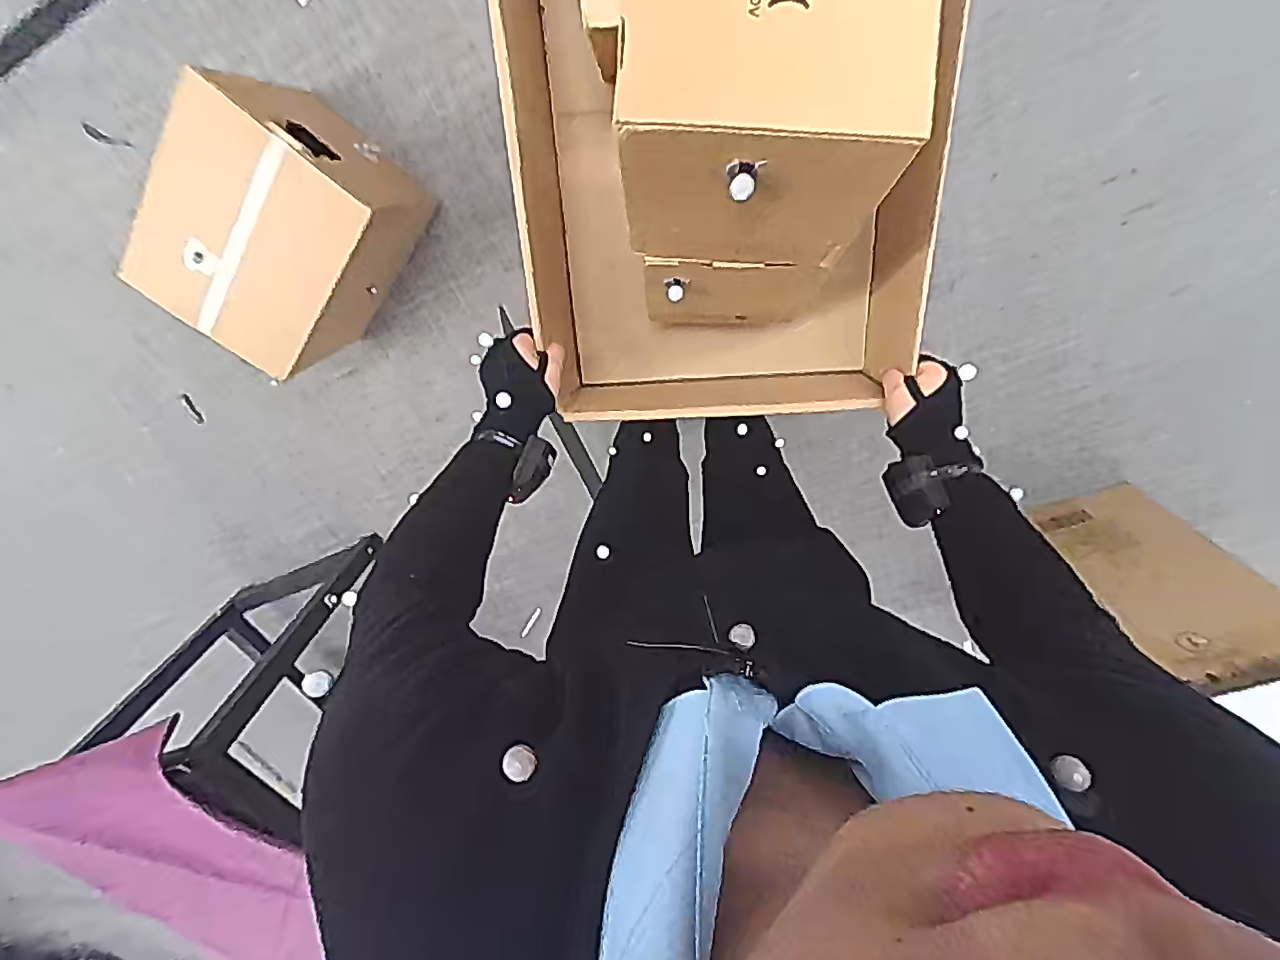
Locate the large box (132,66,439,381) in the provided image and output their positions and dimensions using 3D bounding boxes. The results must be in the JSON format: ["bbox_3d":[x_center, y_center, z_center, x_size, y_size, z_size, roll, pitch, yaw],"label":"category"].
[{"bbox_3d":[-0.666,-0.482,1.056,0.320,0.320,0.408,37,116,-16],"label":"large box"}]
